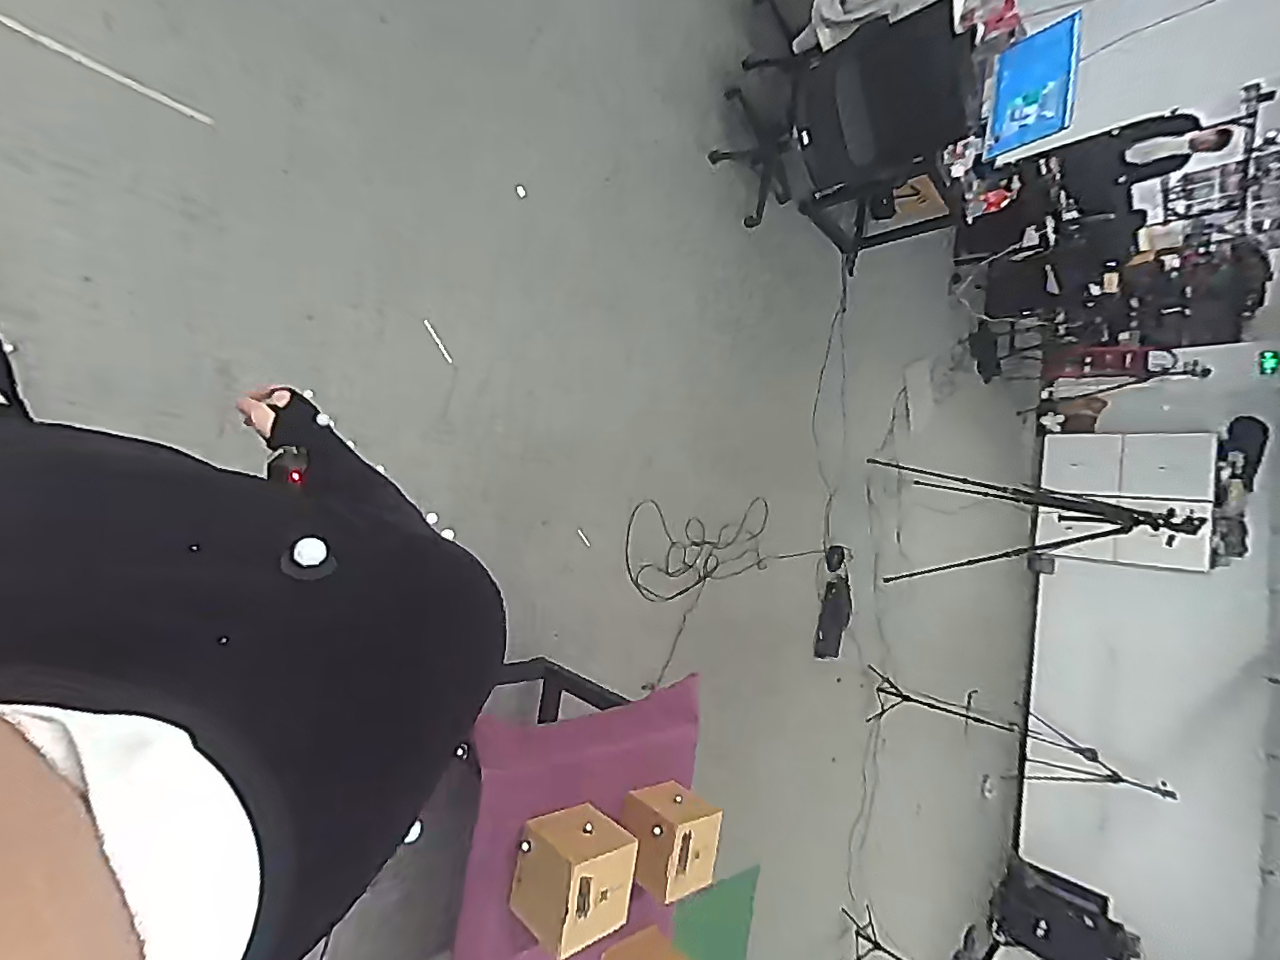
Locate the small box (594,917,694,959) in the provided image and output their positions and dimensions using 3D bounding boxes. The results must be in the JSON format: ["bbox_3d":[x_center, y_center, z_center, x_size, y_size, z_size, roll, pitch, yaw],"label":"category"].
[{"bbox_3d":[-0.002,1.198,1.287,0.179,0.176,0.168,17,81,-43],"label":"small box"}]

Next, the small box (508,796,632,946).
[{"bbox_3d":[-0.146,0.785,1.109,0.179,0.176,0.168,16,82,-46],"label":"small box"}]
